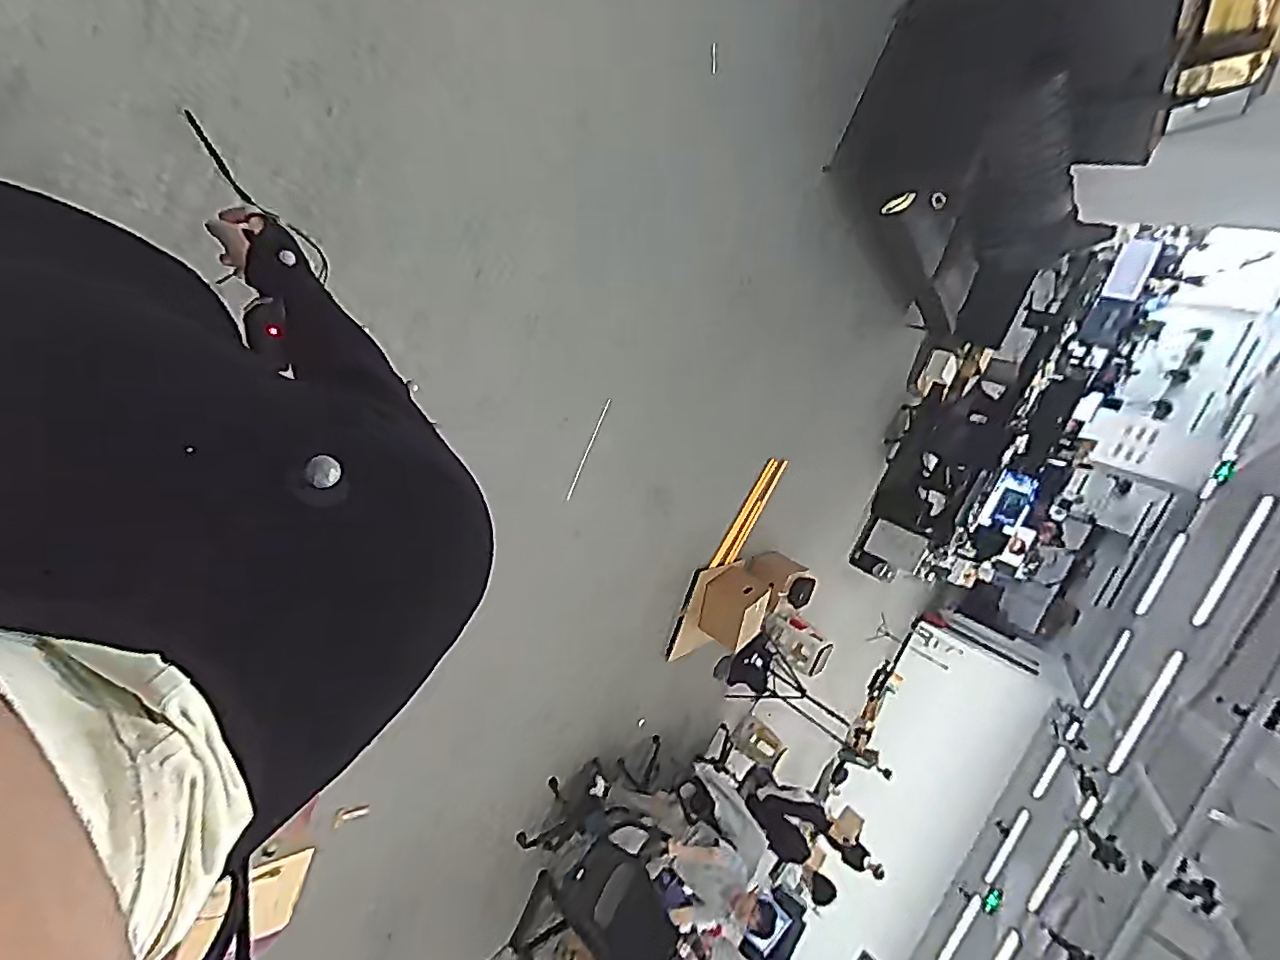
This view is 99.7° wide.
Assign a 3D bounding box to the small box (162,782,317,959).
[{"bbox_3d":[-0.704,0.677,0.945,0.168,0.176,0.179,13,103,-53],"label":"small box"}]
